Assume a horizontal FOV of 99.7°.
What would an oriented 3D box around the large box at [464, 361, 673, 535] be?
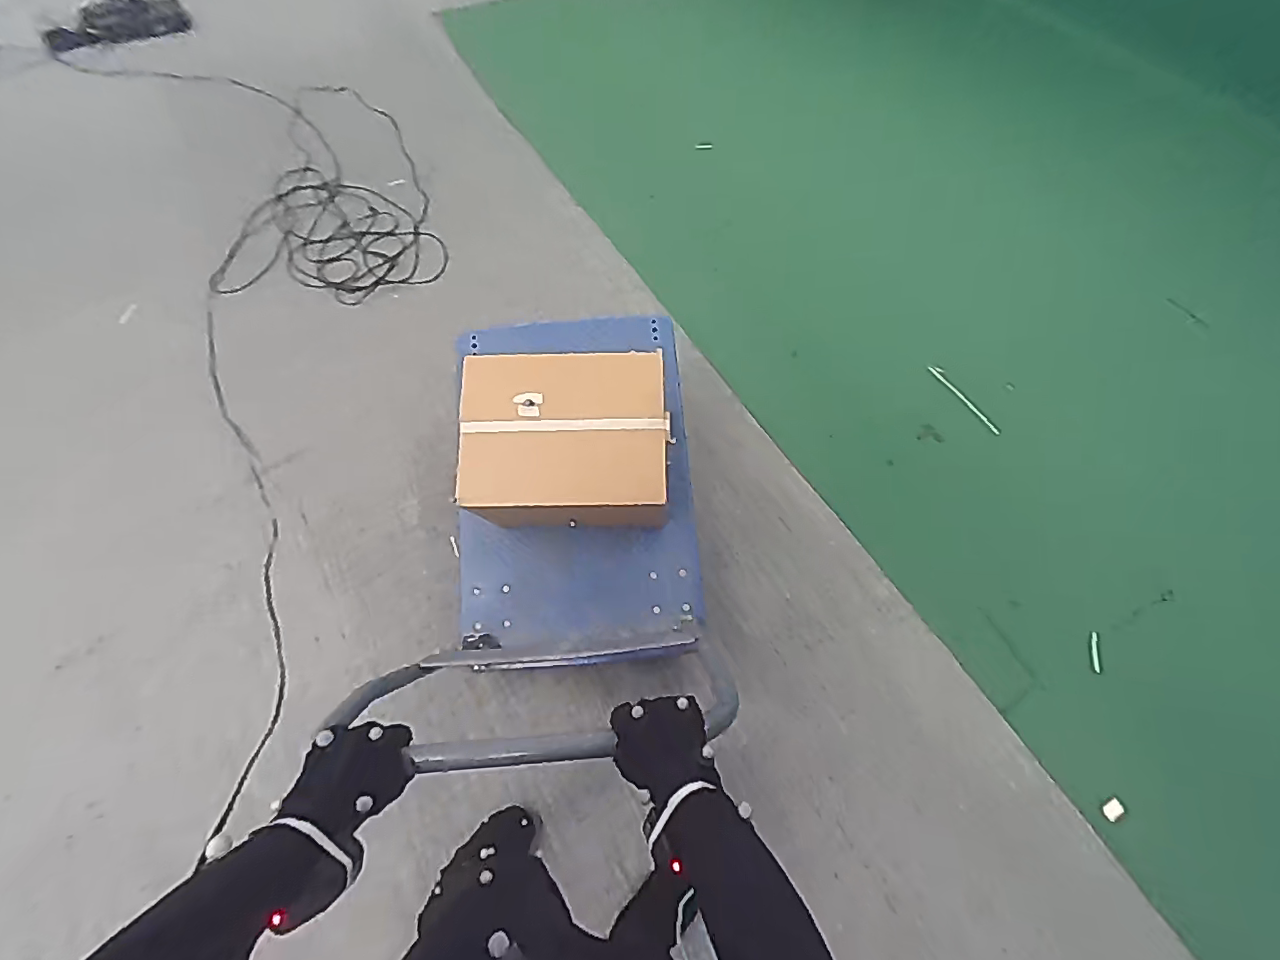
[{"bbox_3d":[-0.136,-0.050,1.203,0.408,0.320,0.320,-2,76,3],"label":"large box"}]
